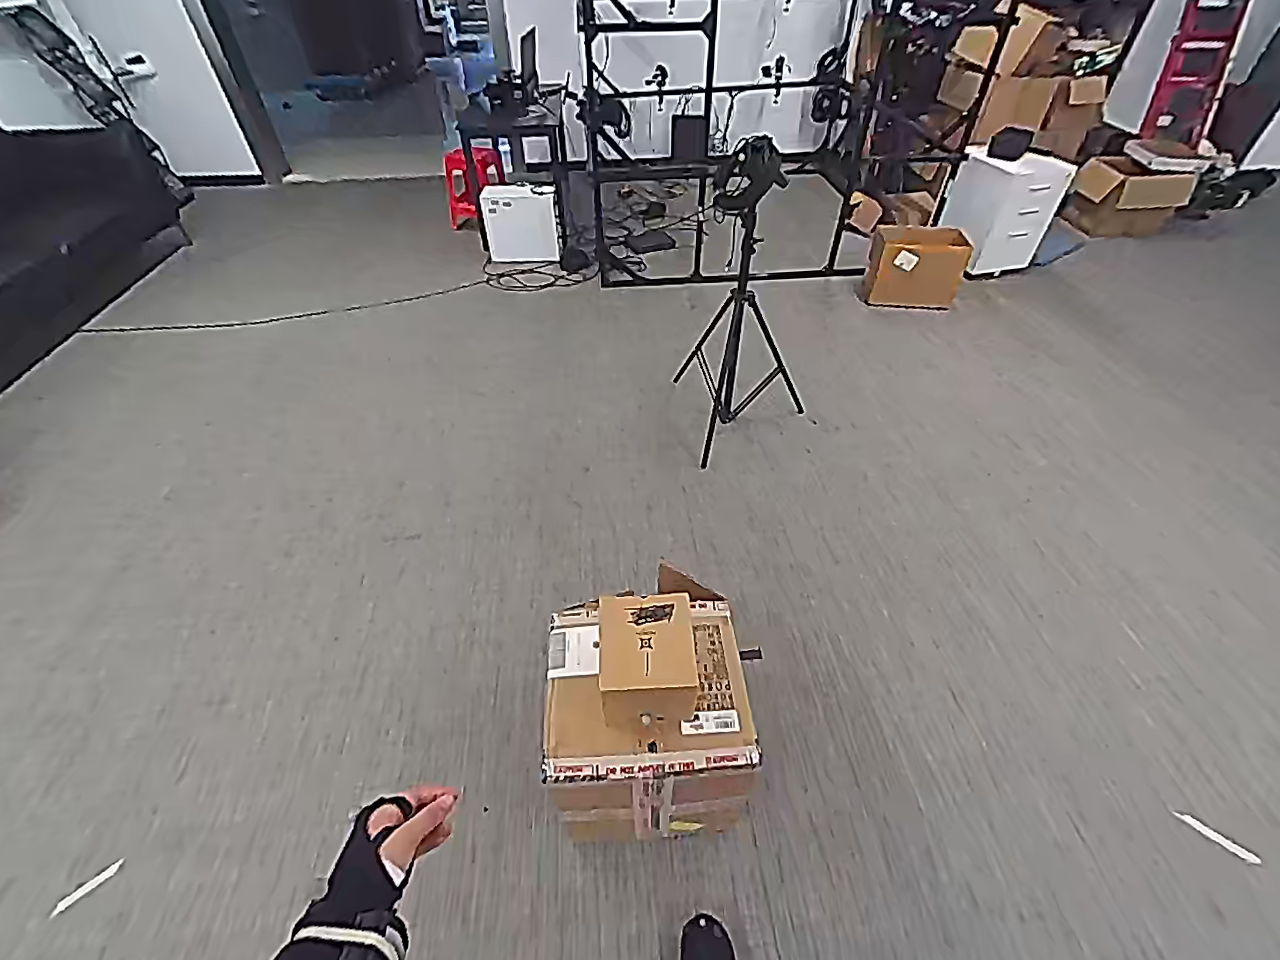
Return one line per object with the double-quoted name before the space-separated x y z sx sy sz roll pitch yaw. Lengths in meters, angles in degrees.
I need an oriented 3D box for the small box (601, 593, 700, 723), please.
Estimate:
"small box" 0.015 0.329 0.998 0.168 0.176 0.179 -3 48 -1
